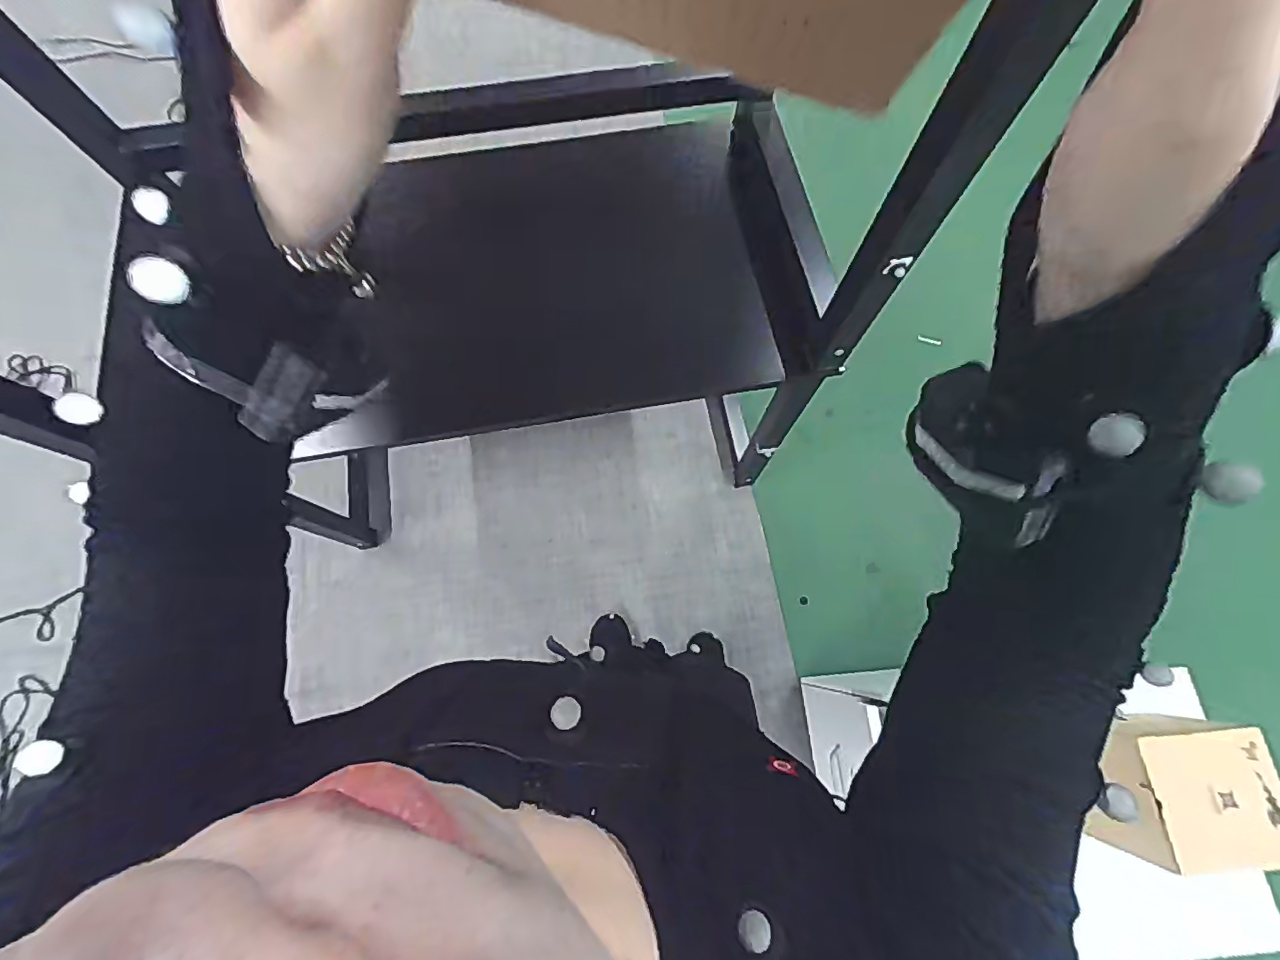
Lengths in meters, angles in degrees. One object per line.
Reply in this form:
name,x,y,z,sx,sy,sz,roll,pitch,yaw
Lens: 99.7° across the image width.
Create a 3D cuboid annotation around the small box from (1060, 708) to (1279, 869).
small box,0.759,0.434,0.784,0.179,0.176,0.168,-5,74,0
